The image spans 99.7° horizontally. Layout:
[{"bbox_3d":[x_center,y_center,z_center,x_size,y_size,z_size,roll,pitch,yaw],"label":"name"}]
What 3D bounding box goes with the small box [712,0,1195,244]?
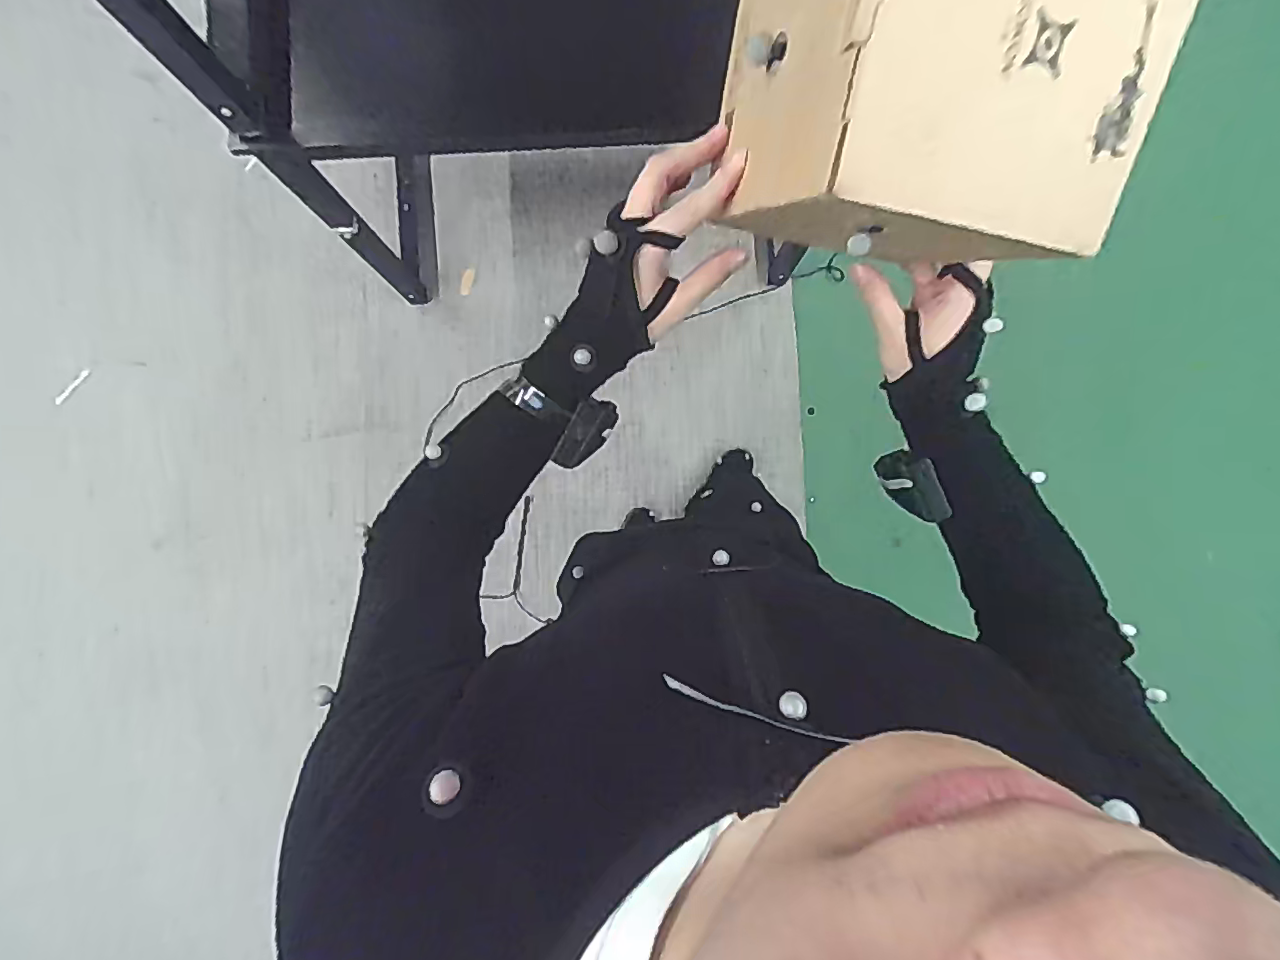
[{"bbox_3d":[0.158,-0.239,0.315,0.179,0.176,0.168,3,112,-15],"label":"small box"}]
